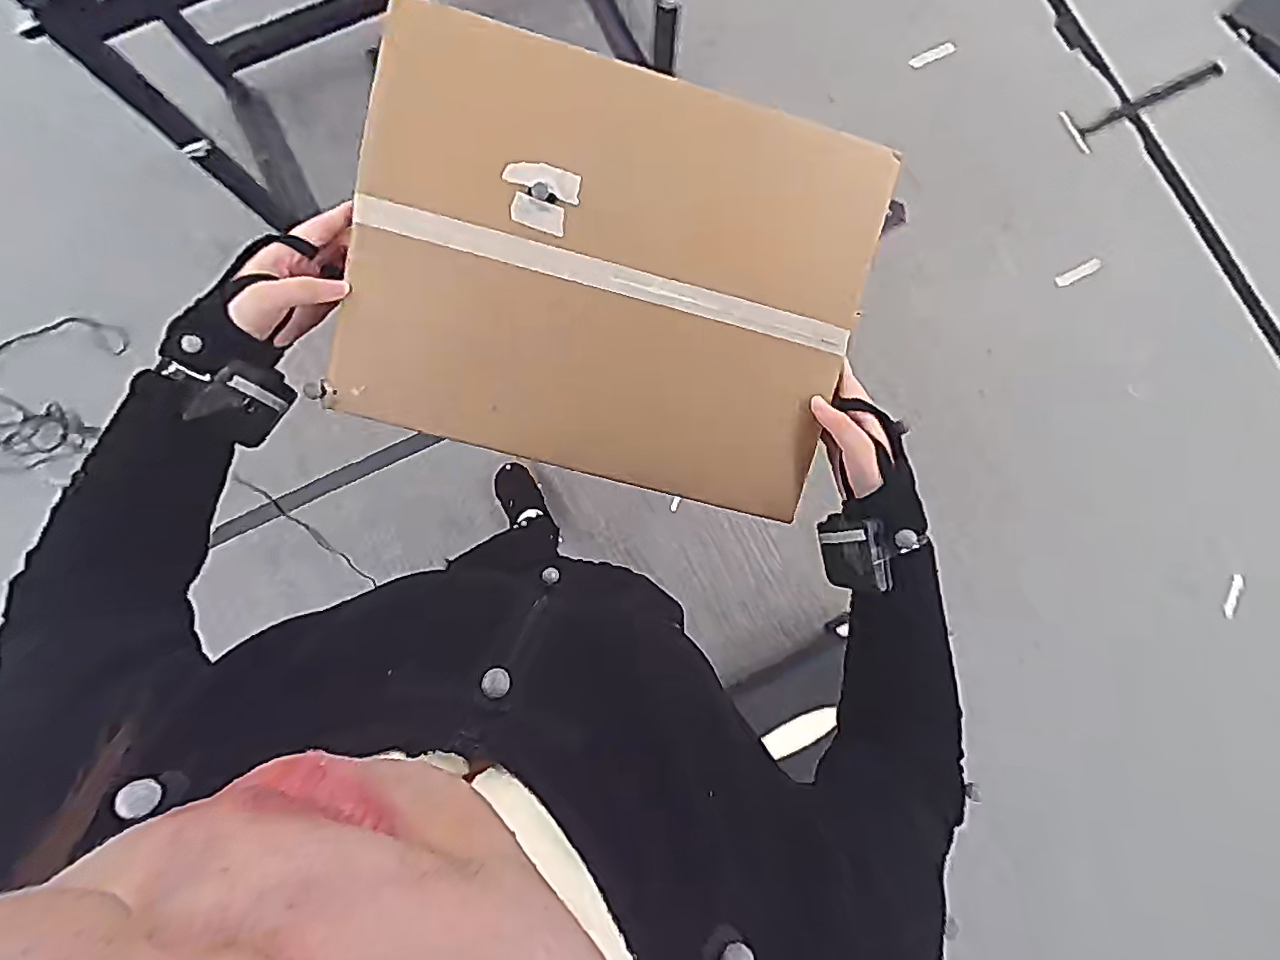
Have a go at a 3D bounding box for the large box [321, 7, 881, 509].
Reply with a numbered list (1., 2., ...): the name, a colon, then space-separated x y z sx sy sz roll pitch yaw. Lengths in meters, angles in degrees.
1. large box: -0.038 -0.183 0.577 0.408 0.320 0.320 13 97 -4
